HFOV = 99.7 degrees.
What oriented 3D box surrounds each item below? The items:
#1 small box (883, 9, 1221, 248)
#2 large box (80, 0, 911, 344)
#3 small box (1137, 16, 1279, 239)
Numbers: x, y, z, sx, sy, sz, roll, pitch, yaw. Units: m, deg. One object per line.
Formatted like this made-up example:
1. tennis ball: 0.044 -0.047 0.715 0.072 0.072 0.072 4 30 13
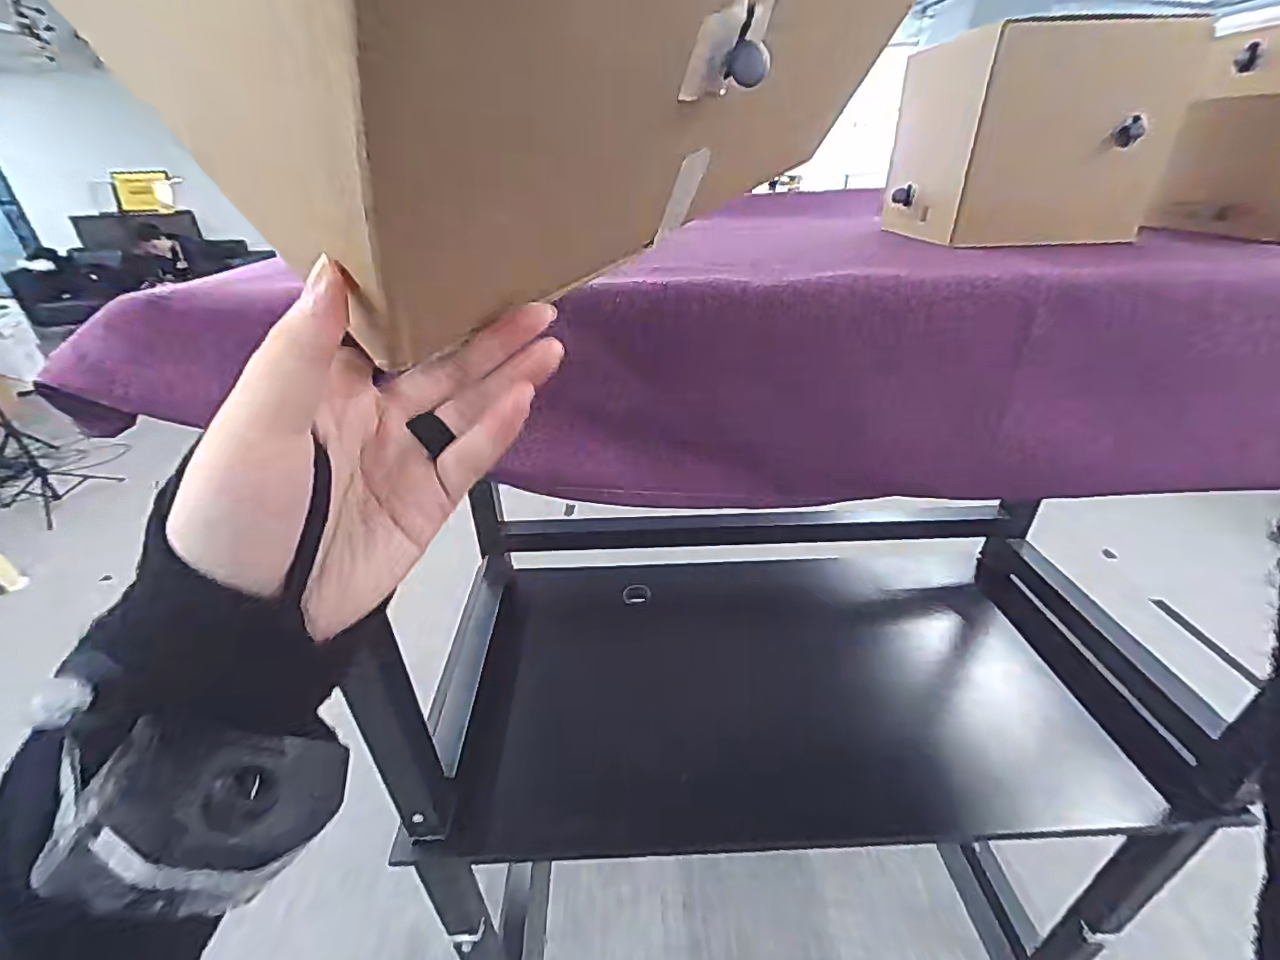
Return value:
1. small box: 0.367 -0.329 0.527 0.179 0.176 0.168 -2 30 0
2. large box: -0.075 -0.329 0.169 0.408 0.320 0.320 46 58 7
3. small box: 0.634 -0.324 0.500 0.179 0.176 0.168 -3 30 -3
